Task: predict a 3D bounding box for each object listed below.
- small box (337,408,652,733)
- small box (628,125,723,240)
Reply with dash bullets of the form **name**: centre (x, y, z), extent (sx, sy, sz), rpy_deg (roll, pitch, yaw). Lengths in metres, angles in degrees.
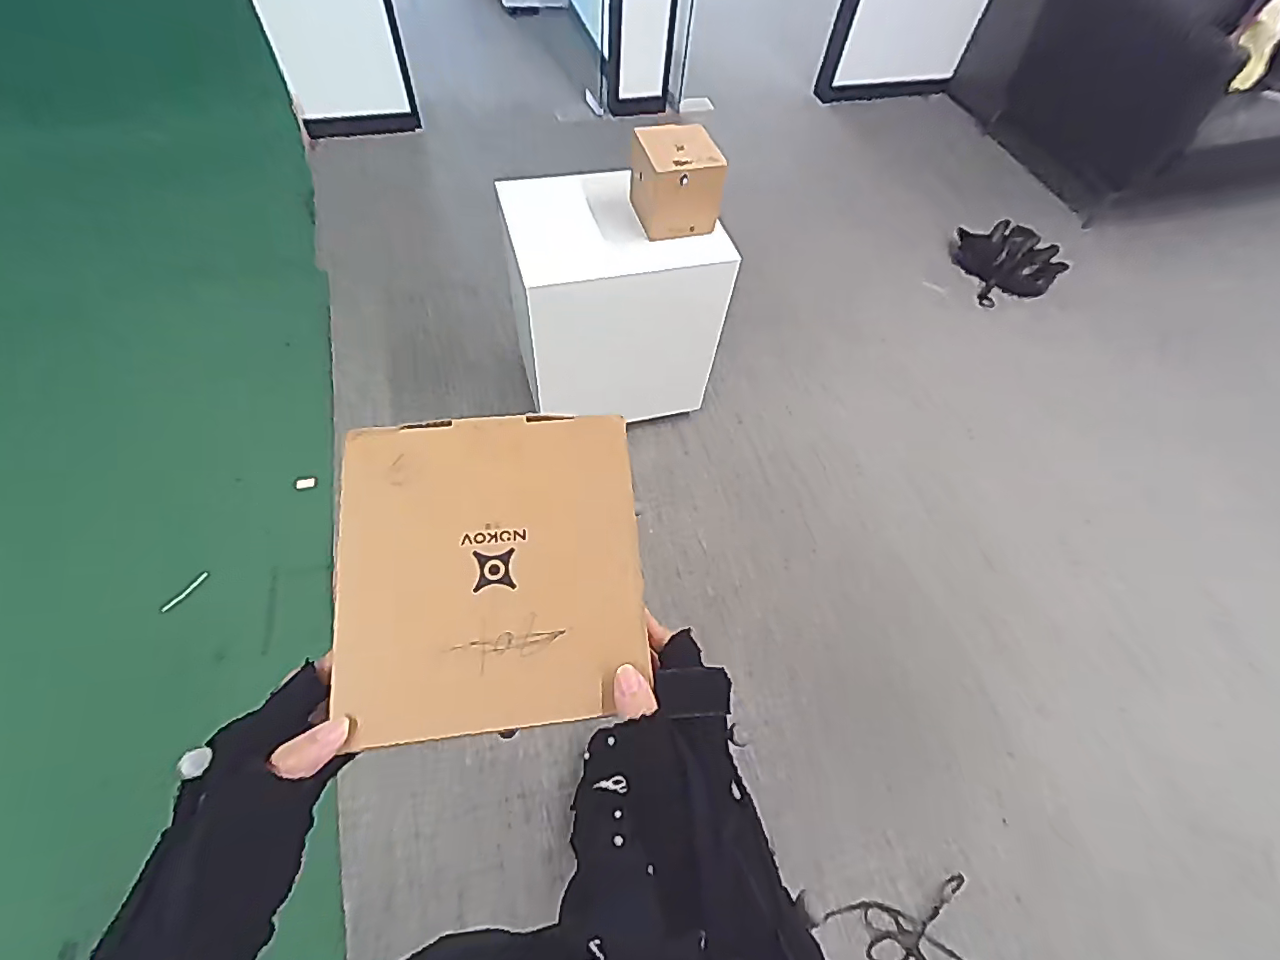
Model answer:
- **small box**: centre (-0.091, 0.066, 0.385), extent (0.168, 0.176, 0.179), rpy_deg (-5, 74, -8)
- **small box**: centre (0.073, -0.688, 1.255), extent (0.168, 0.176, 0.179), rpy_deg (-14, 60, -11)
